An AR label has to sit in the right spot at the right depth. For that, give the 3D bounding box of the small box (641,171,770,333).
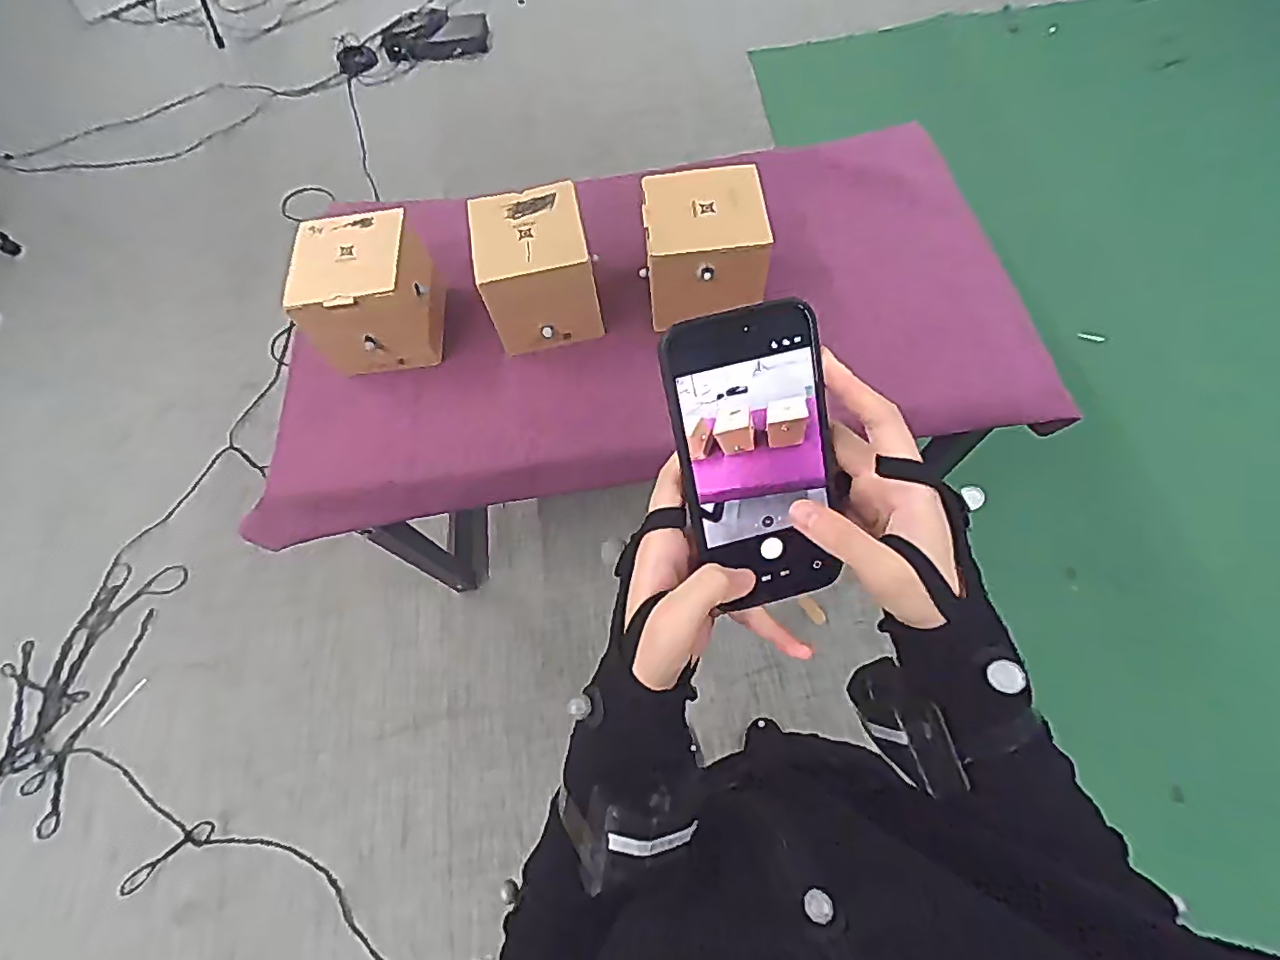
[{"bbox_3d":[0.099,-0.353,0.861,0.179,0.176,0.168,-5,65,3],"label":"small box"}]

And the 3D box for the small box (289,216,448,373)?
[{"bbox_3d":[-0.425,-0.289,0.878,0.168,0.176,0.179,-7,65,1],"label":"small box"}]

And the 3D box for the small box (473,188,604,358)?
[{"bbox_3d":[-0.159,-0.327,0.871,0.168,0.176,0.179,-12,65,0],"label":"small box"}]
